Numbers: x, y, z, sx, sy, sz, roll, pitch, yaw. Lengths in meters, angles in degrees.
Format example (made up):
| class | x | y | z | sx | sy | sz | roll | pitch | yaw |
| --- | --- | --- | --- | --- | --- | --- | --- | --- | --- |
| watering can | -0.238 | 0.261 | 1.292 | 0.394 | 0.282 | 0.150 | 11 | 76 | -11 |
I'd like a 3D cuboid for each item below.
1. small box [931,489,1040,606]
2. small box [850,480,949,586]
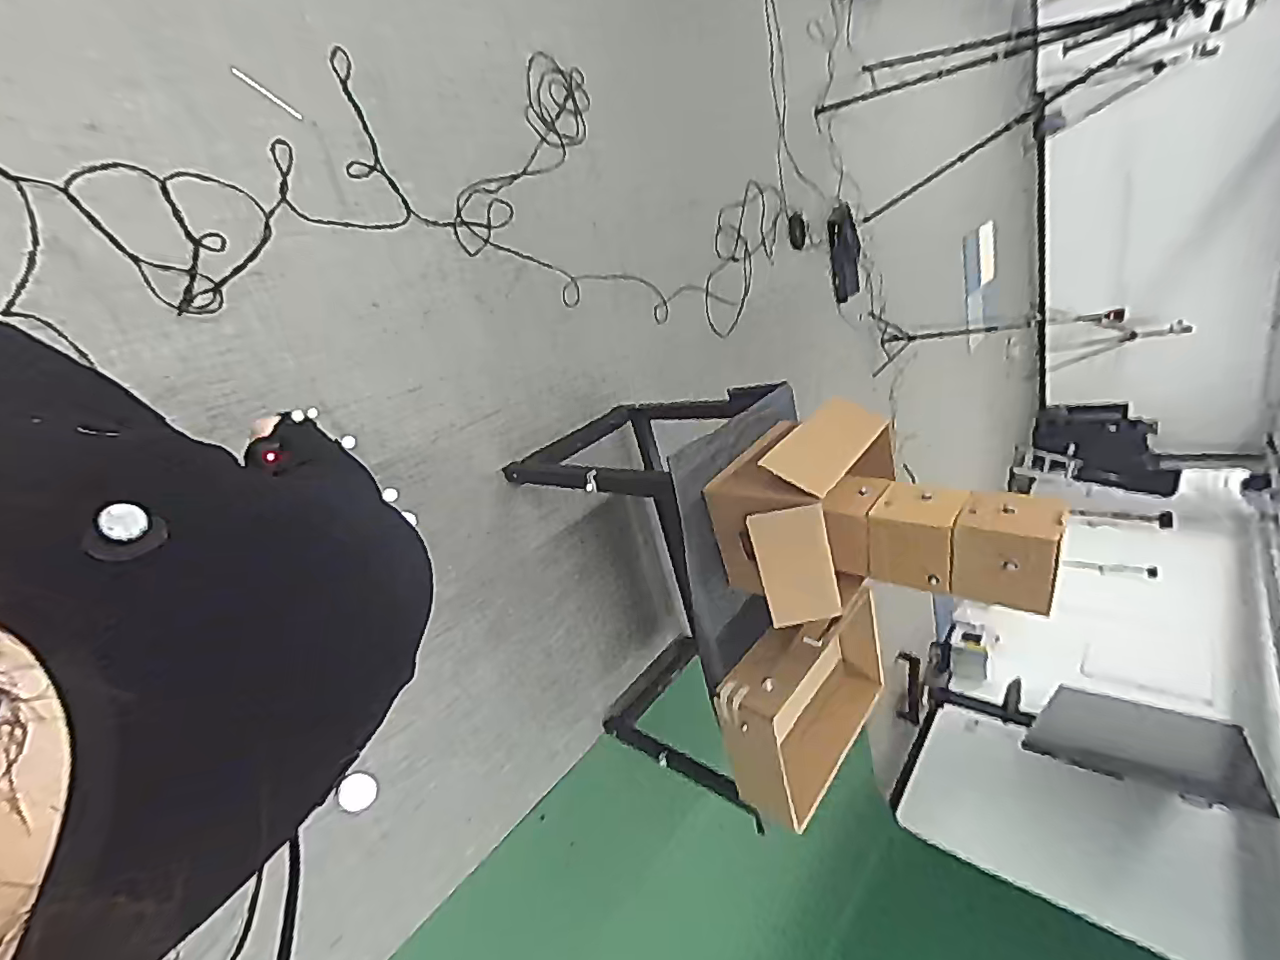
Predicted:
| class | x | y | z | sx | sy | sz | roll | pitch | yaw |
| --- | --- | --- | --- | --- | --- | --- | --- | --- | --- |
| small box | 0.712 | 0.128 | 1.120 | 0.168 | 0.176 | 0.179 | -34 | 122 | -42 |
| small box | 0.584 | 0.110 | 1.222 | 0.168 | 0.176 | 0.179 | -36 | 124 | -41 |
